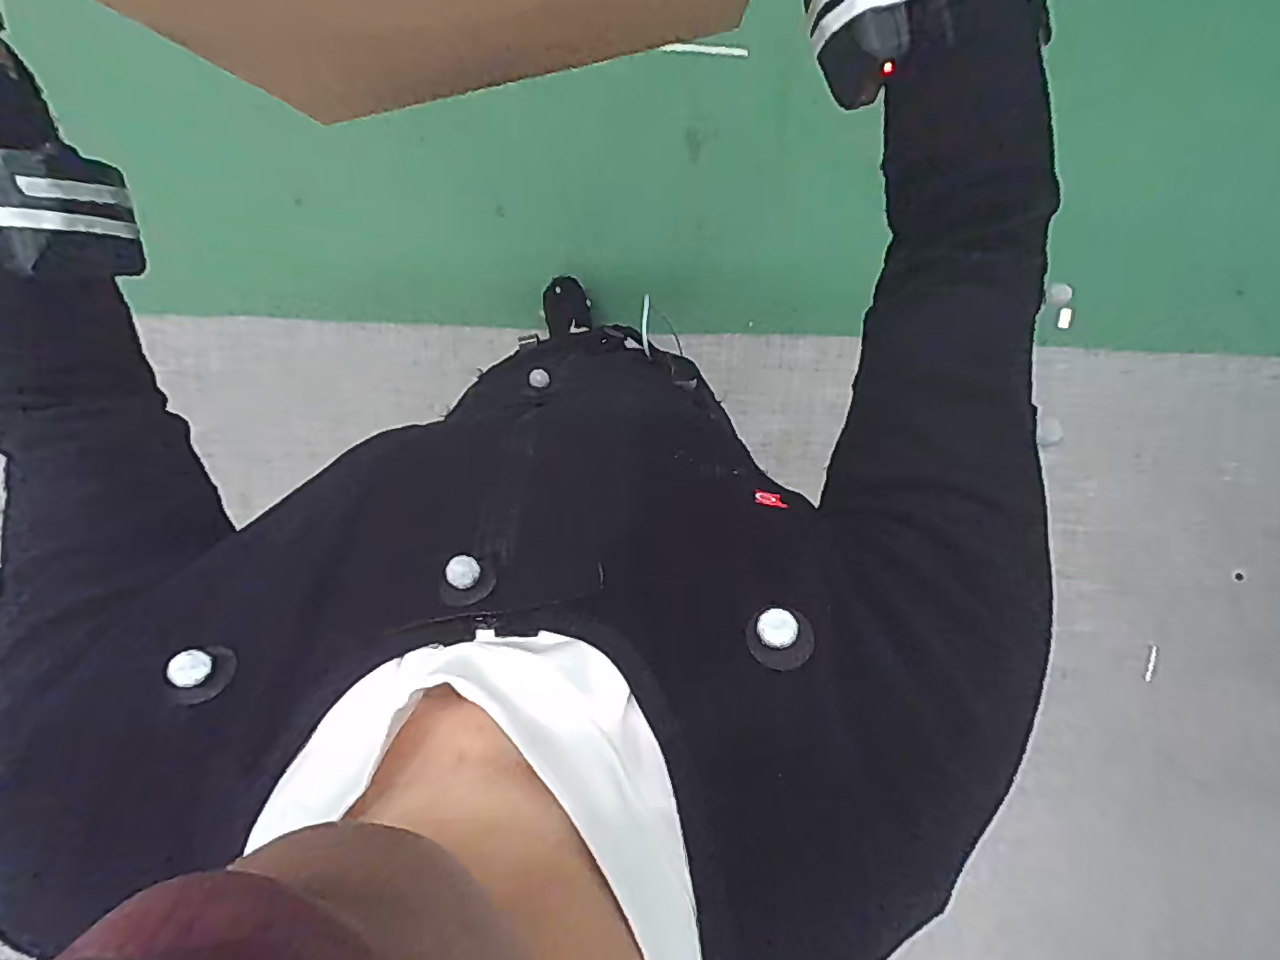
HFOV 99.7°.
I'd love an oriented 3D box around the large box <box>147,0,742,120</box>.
[{"bbox_3d":[-0.131,-0.477,0.322,0.408,0.320,0.320,-12,109,2],"label":"large box"}]
